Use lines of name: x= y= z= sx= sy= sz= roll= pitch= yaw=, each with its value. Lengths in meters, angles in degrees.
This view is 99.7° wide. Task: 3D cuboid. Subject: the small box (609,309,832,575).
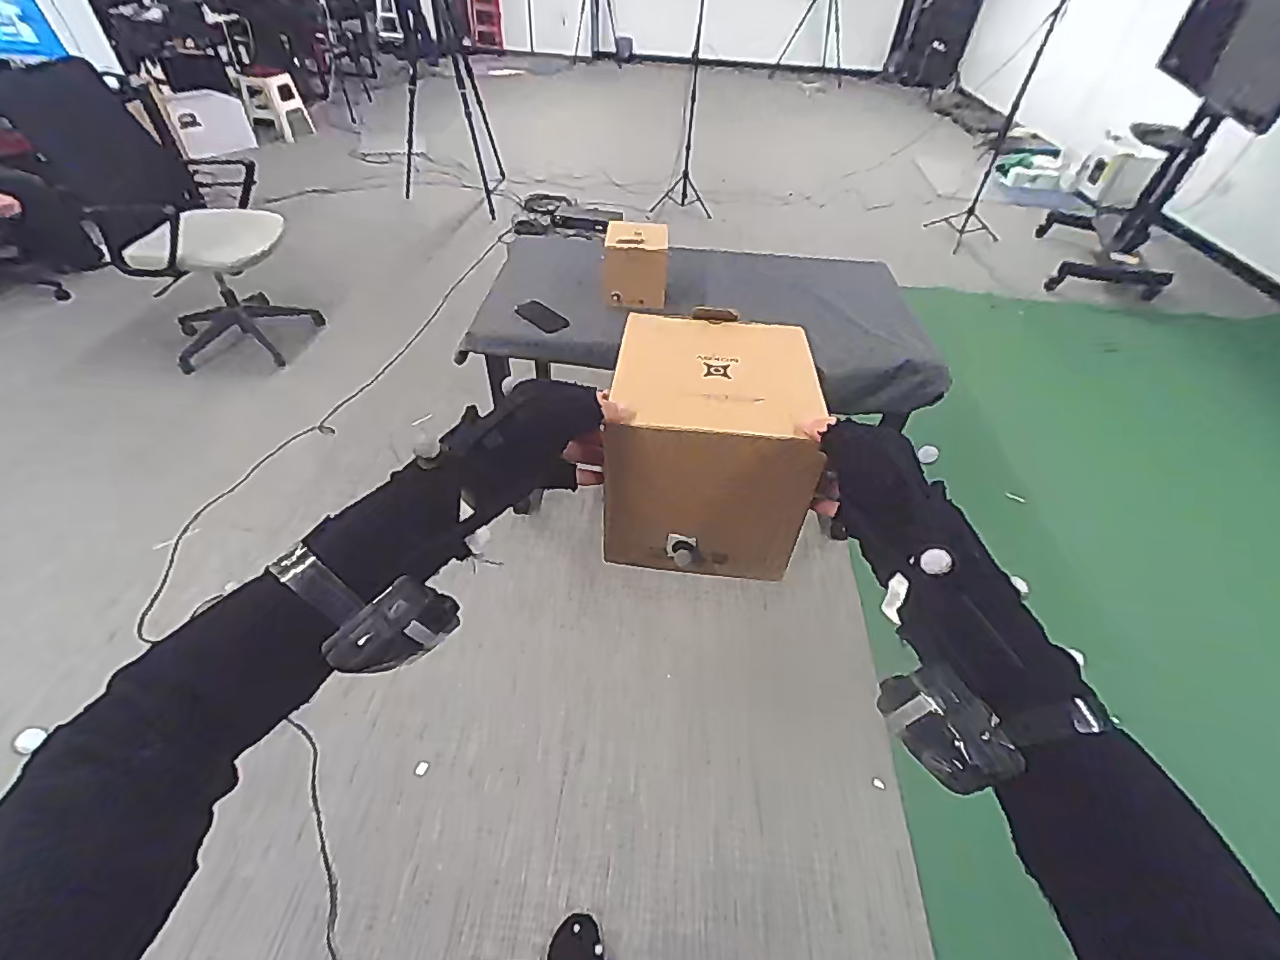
small box: x=0.061 y=-0.036 z=0.507 sx=0.168 sy=0.176 sz=0.179 roll=5 pitch=45 yaw=2

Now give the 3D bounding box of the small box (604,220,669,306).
small box: x=-0.009 y=-0.599 z=1.496 sx=0.168 sy=0.176 sz=0.179 roll=4 pitch=45 yaw=-1
